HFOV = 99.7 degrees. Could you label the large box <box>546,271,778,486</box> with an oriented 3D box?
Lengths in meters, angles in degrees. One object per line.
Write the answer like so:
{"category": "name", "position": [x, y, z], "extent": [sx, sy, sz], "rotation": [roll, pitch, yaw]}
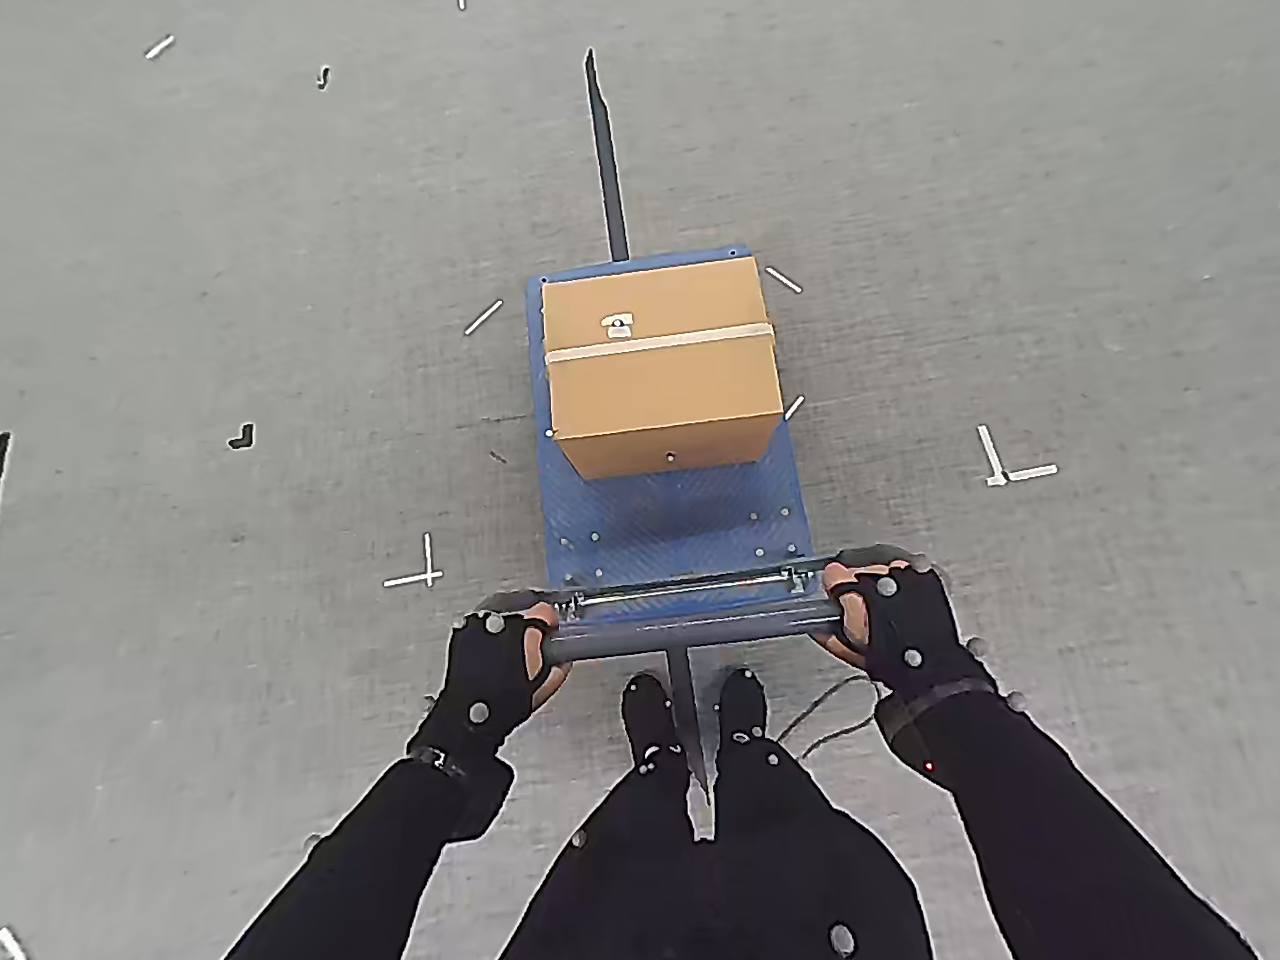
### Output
{"category": "large box", "position": [0.046, -0.190, 1.147], "extent": [0.408, 0.320, 0.320], "rotation": [-8, 75, 3]}
